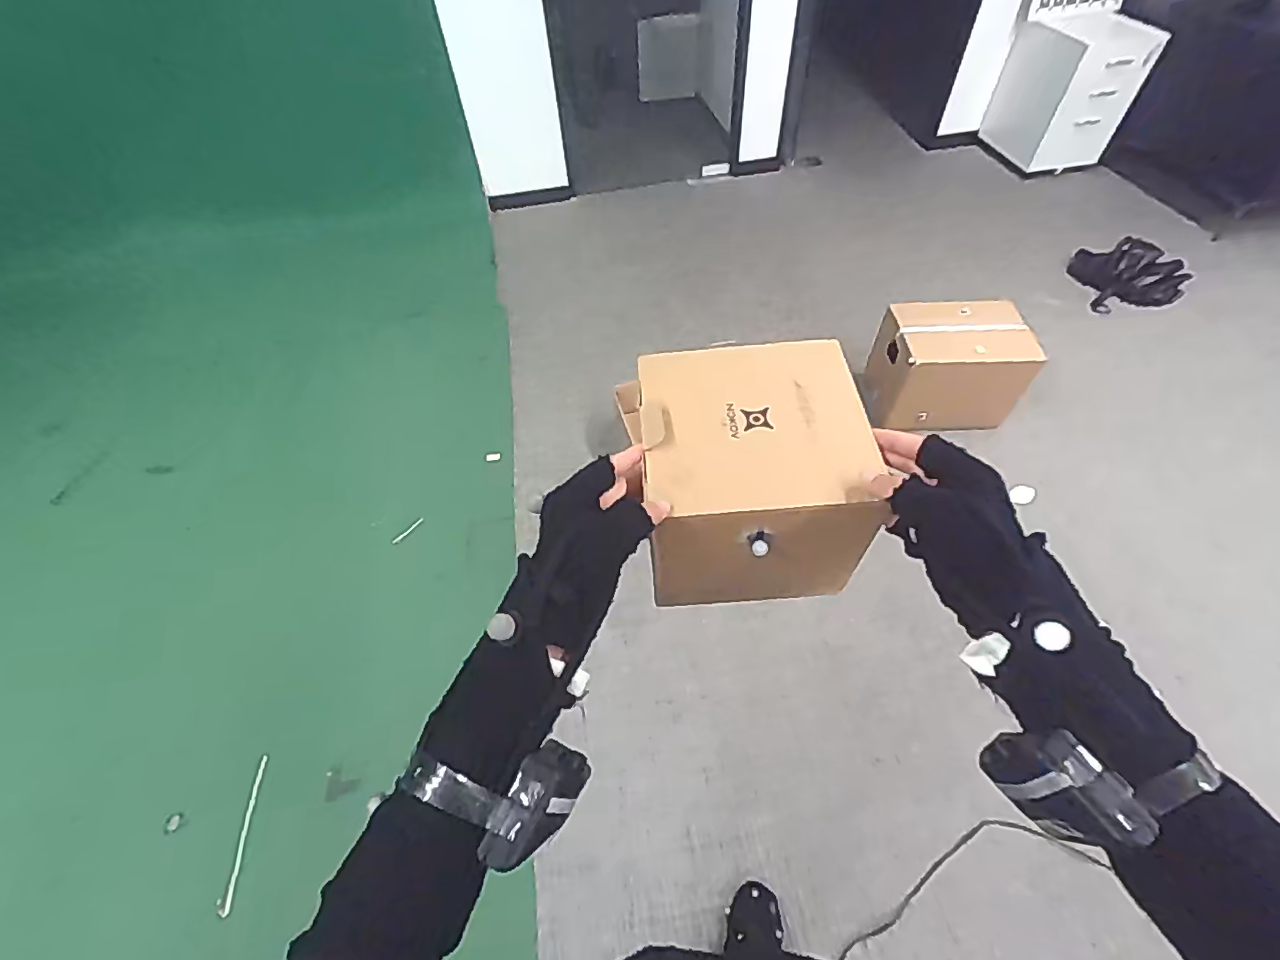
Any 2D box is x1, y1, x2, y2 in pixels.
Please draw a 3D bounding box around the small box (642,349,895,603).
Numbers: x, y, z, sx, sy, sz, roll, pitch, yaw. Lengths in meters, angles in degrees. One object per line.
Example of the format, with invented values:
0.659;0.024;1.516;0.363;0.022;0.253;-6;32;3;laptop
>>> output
0.097;0.004;0.495;0.179;0.176;0.168;-4;55;1;small box
